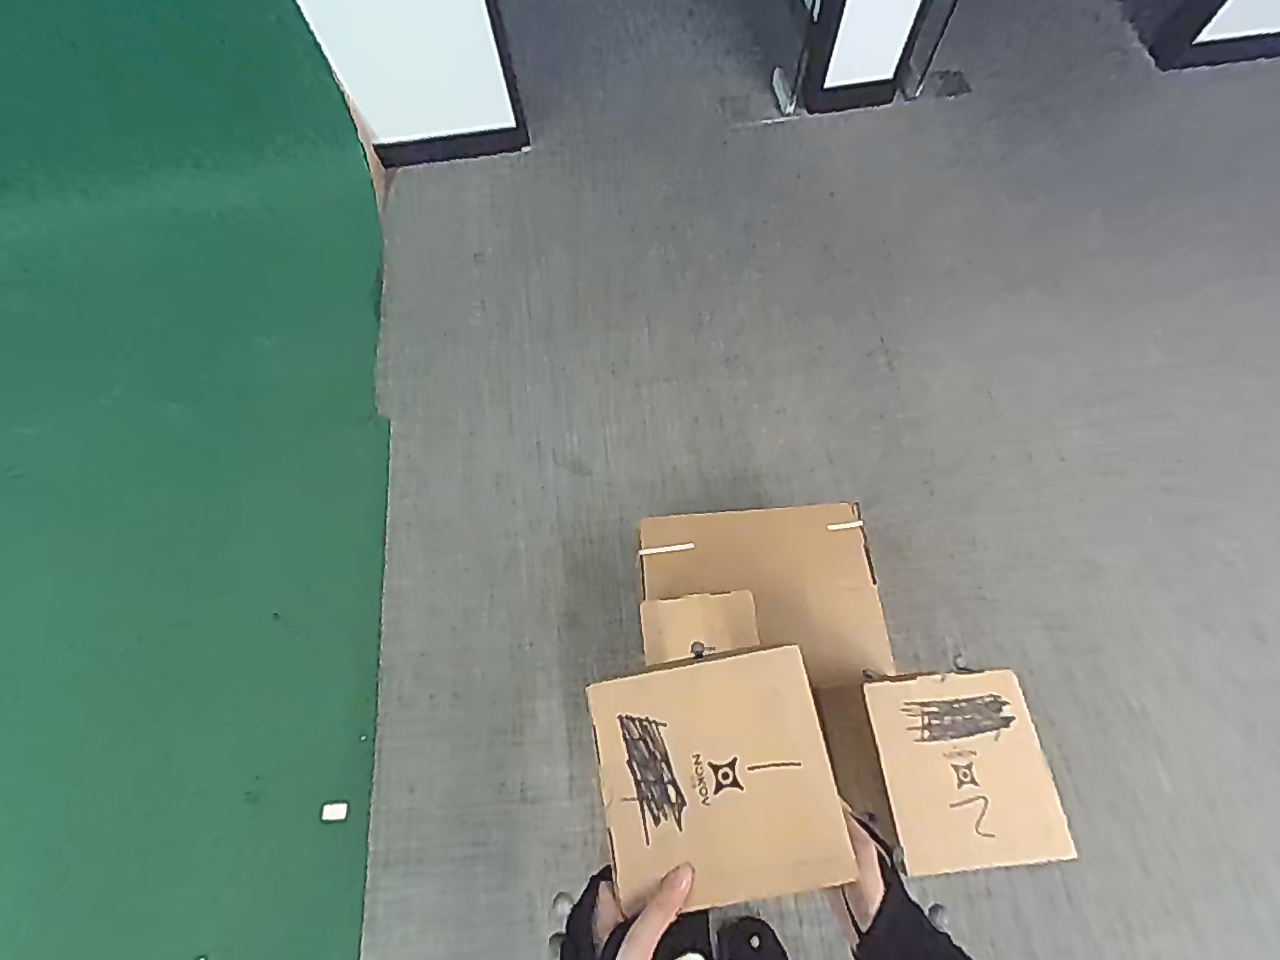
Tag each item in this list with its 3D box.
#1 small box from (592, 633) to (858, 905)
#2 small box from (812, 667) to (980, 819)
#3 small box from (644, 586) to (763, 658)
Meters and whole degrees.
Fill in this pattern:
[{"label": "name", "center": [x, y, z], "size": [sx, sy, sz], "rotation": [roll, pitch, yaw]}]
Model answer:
[{"label": "small box", "center": [0.067, 0.240, 0.490], "size": [0.179, 0.176, 0.168], "rotation": [-12, 73, 1]}, {"label": "small box", "center": [0.332, 0.365, 0.773], "size": [0.179, 0.176, 0.168], "rotation": [-7, 67, -1]}, {"label": "small box", "center": [0.095, 0.272, 0.819], "size": [0.168, 0.176, 0.179], "rotation": [-6, 67, 0]}]
